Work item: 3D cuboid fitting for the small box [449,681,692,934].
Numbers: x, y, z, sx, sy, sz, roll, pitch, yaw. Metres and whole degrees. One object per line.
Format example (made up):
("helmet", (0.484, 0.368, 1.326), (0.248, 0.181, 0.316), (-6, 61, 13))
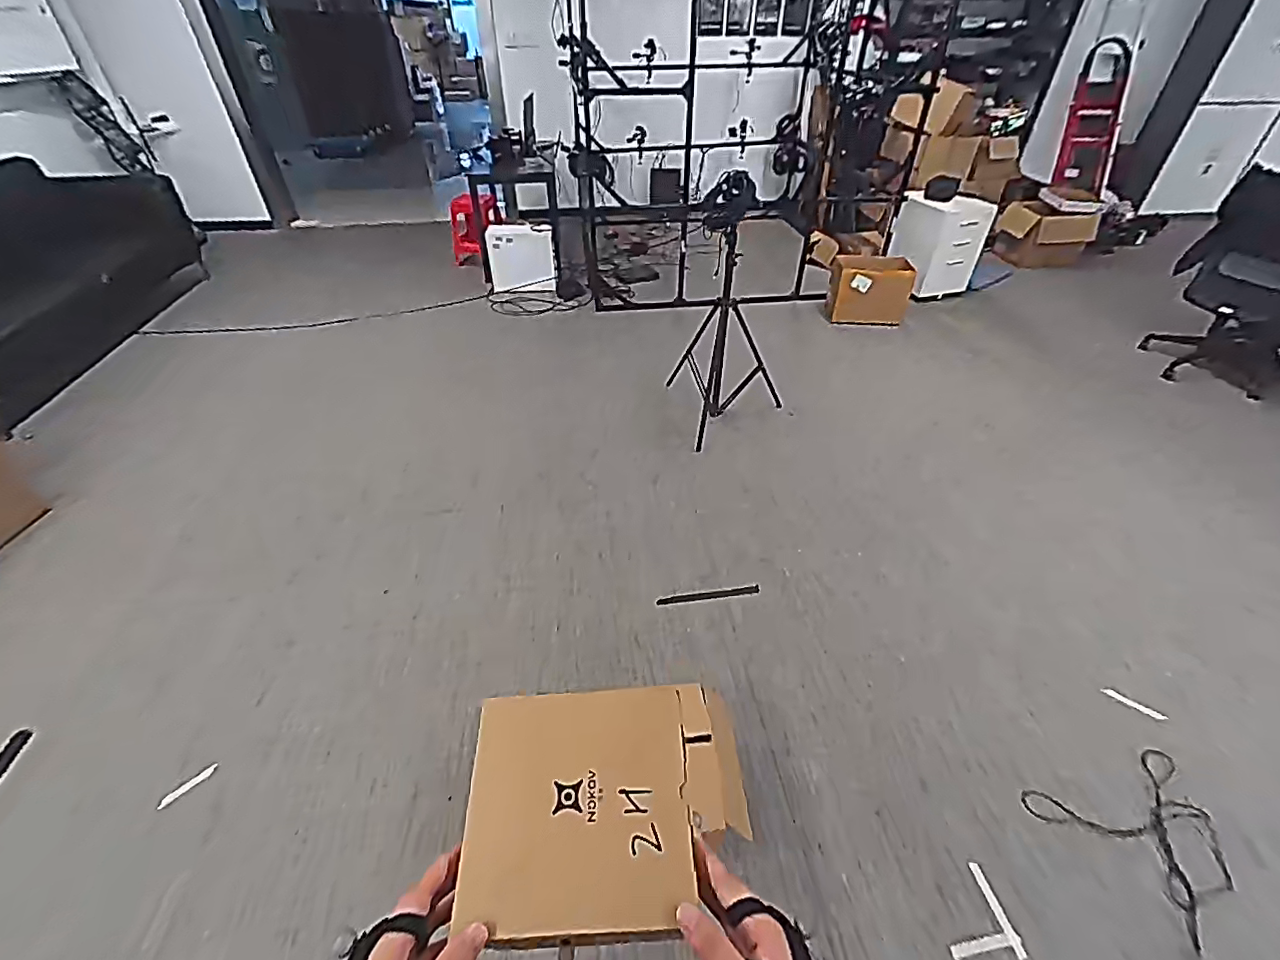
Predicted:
("small box", (-0.049, 0.299, 0.492), (0.179, 0.176, 0.168), (-3, 48, -1))
